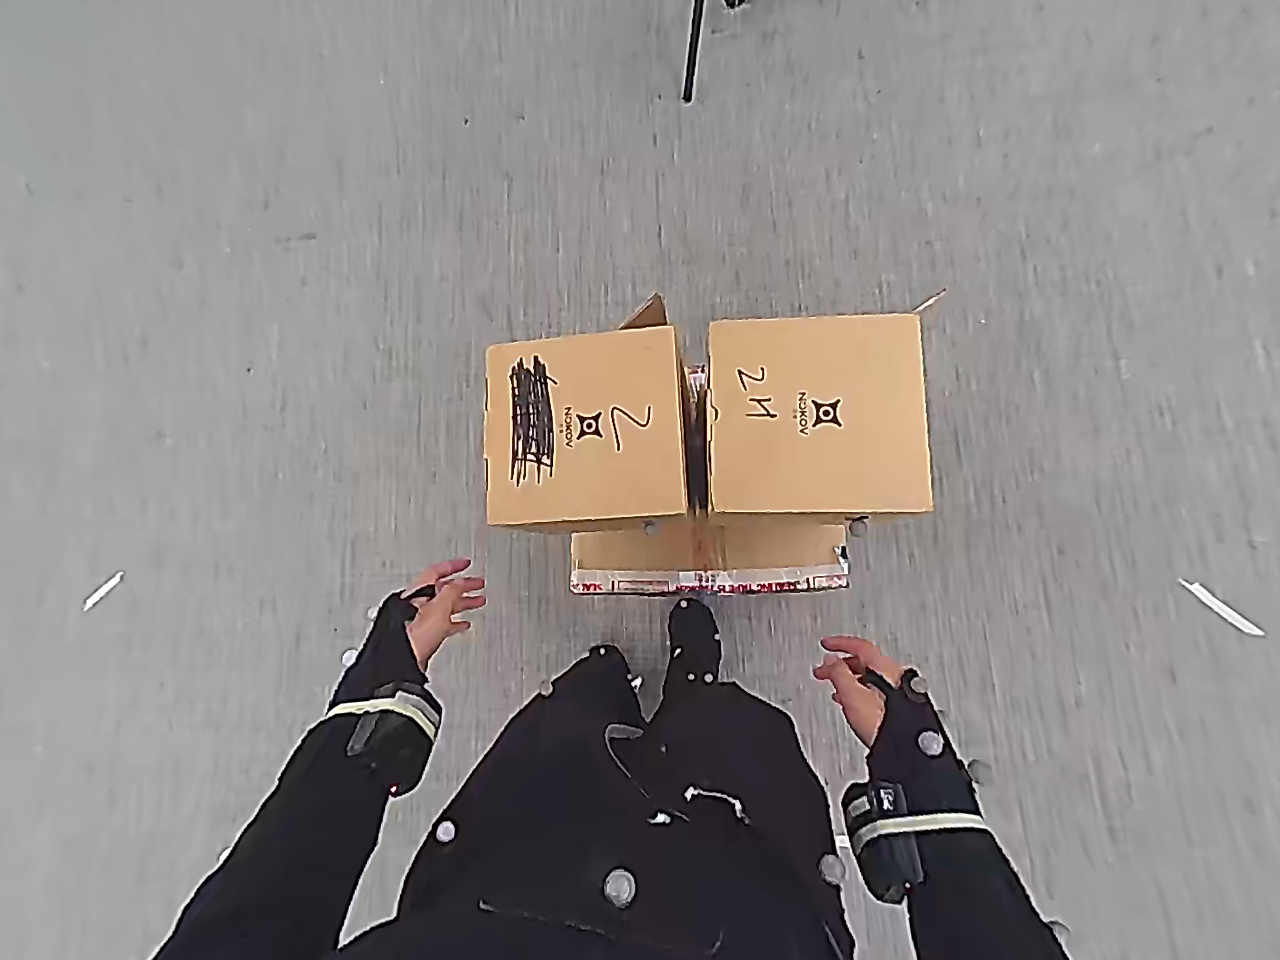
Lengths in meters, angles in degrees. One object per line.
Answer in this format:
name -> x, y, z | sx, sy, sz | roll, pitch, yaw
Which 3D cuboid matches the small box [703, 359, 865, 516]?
small box -> 0.171, -0.044, 0.684 | 0.179, 0.176, 0.168 | 3, 82, 6
